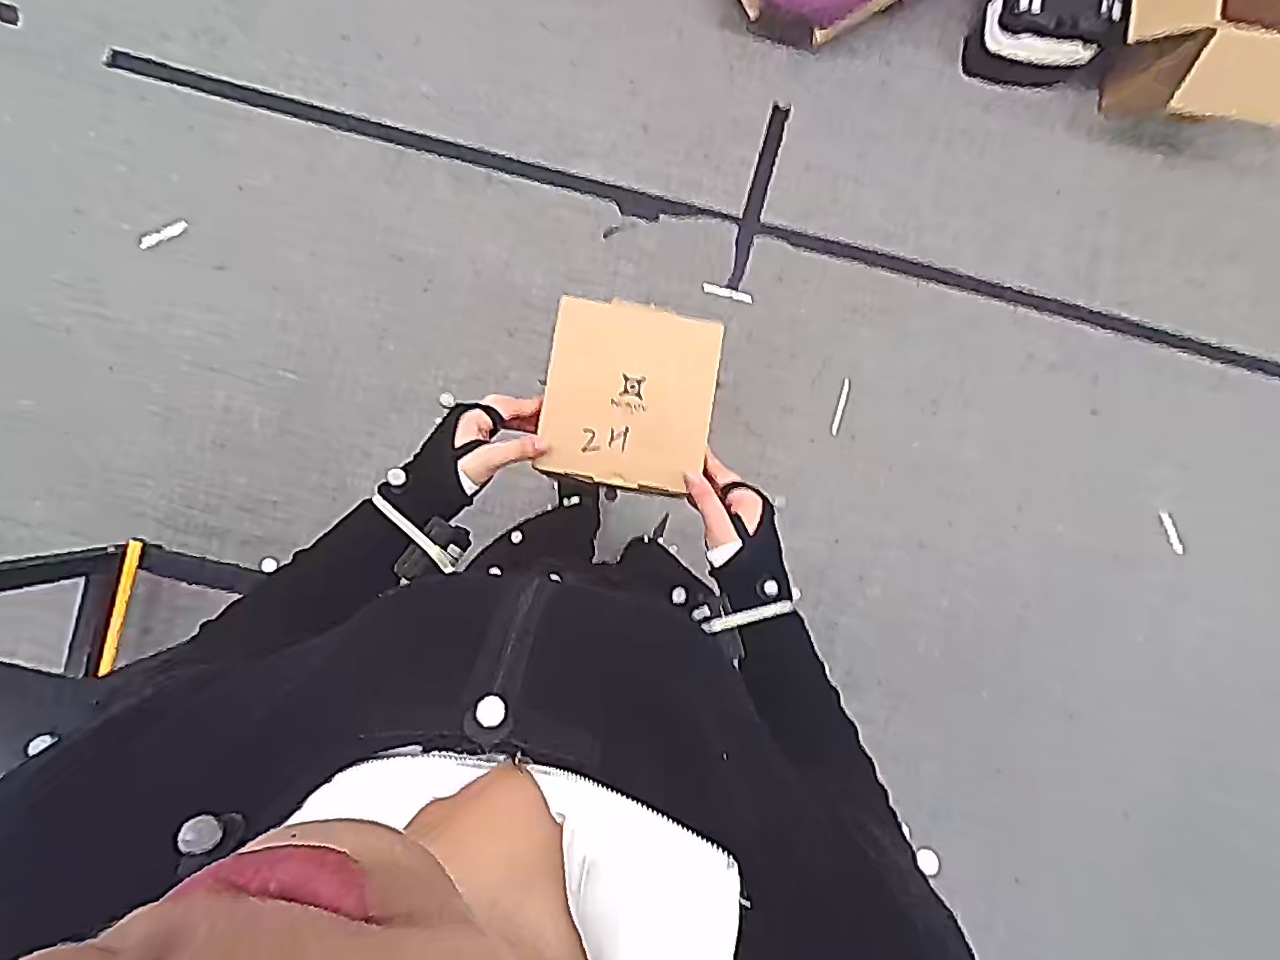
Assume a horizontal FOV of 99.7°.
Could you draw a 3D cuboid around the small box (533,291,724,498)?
[{"bbox_3d":[-0.016,-0.081,0.609,0.168,0.176,0.179,10,85,-3],"label":"small box"}]
